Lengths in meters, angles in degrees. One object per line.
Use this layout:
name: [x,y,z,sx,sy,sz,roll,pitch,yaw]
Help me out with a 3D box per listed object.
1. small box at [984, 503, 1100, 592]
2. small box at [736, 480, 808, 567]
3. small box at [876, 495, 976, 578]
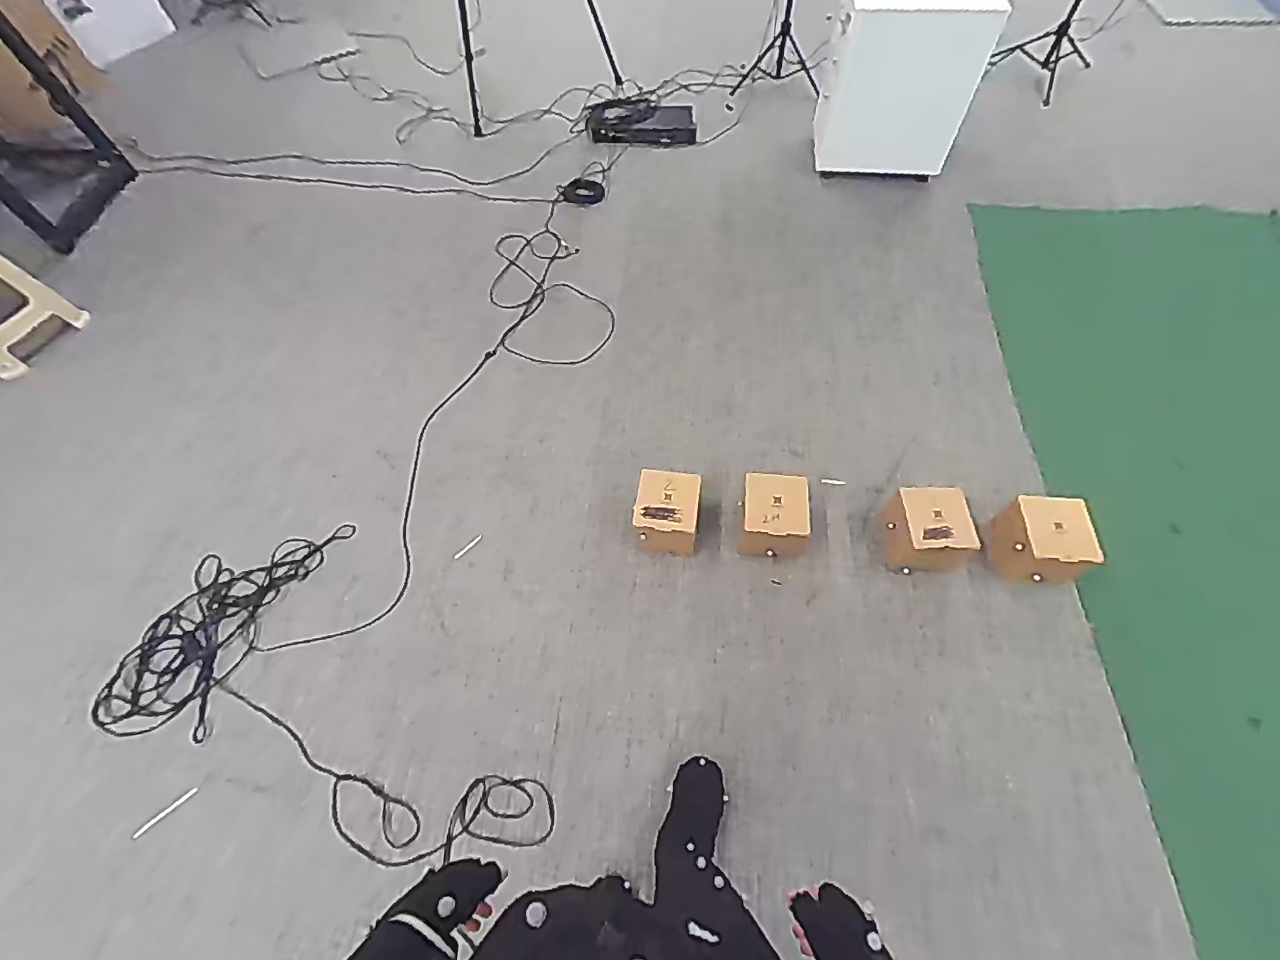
small box: [1.047,0.181,1.429,0.168,0.176,0.179,3,60,5]
small box: [0.357,0.120,1.482,0.168,0.176,0.179,4,60,6]
small box: [0.756,0.156,1.451,0.168,0.176,0.179,0,59,1]
